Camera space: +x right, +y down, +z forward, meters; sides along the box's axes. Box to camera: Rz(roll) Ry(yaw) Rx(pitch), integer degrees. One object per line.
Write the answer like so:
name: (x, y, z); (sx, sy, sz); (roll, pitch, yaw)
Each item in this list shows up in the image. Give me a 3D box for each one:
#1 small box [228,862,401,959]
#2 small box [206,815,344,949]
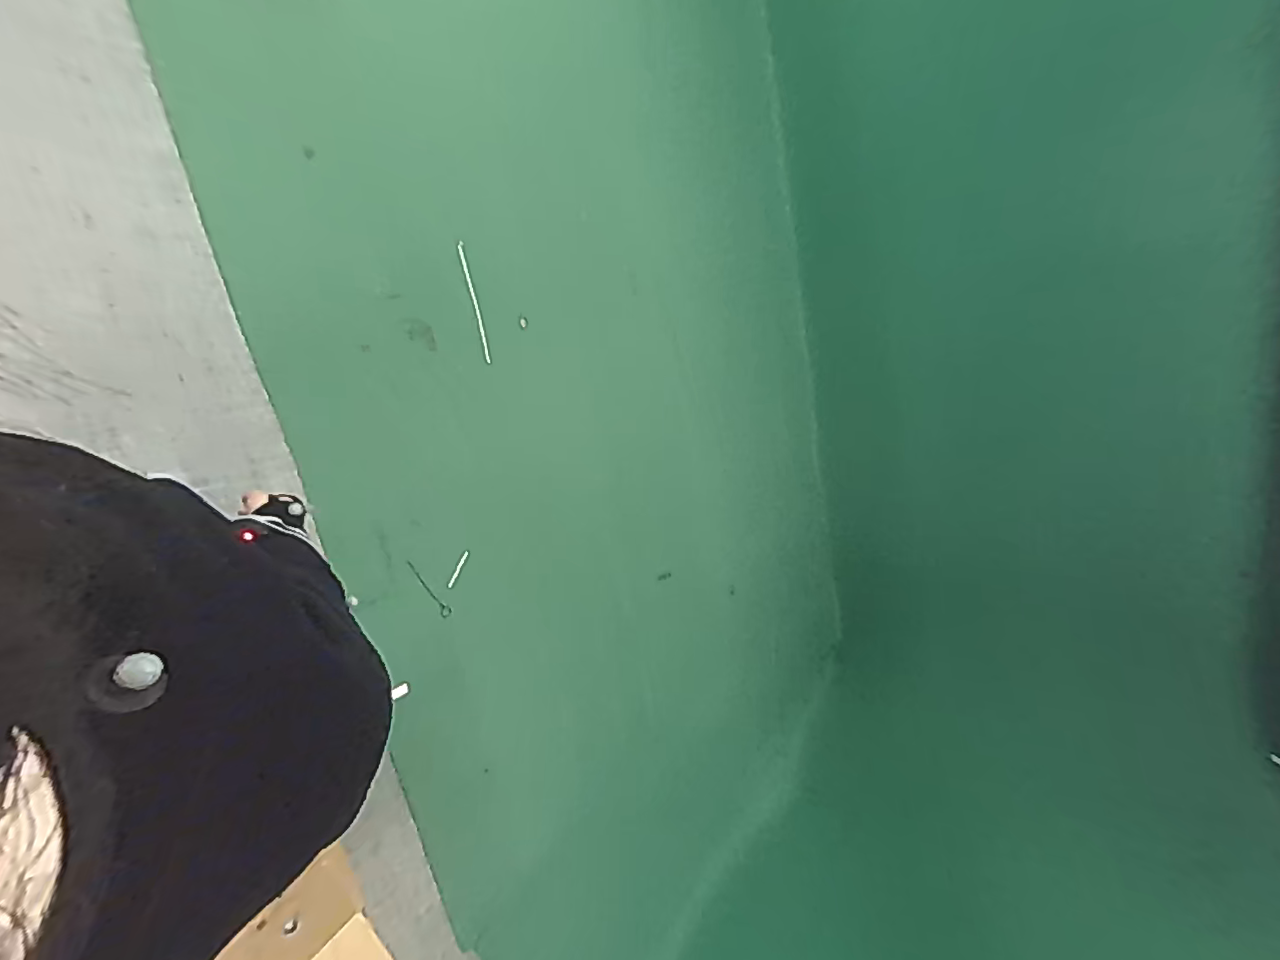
small box: (-0.539, 0.785, 0.899); (0.168, 0.176, 0.179); (-34, 117, -44)
small box: (-0.666, 0.777, 1.003); (0.179, 0.176, 0.168); (-30, 114, -47)
